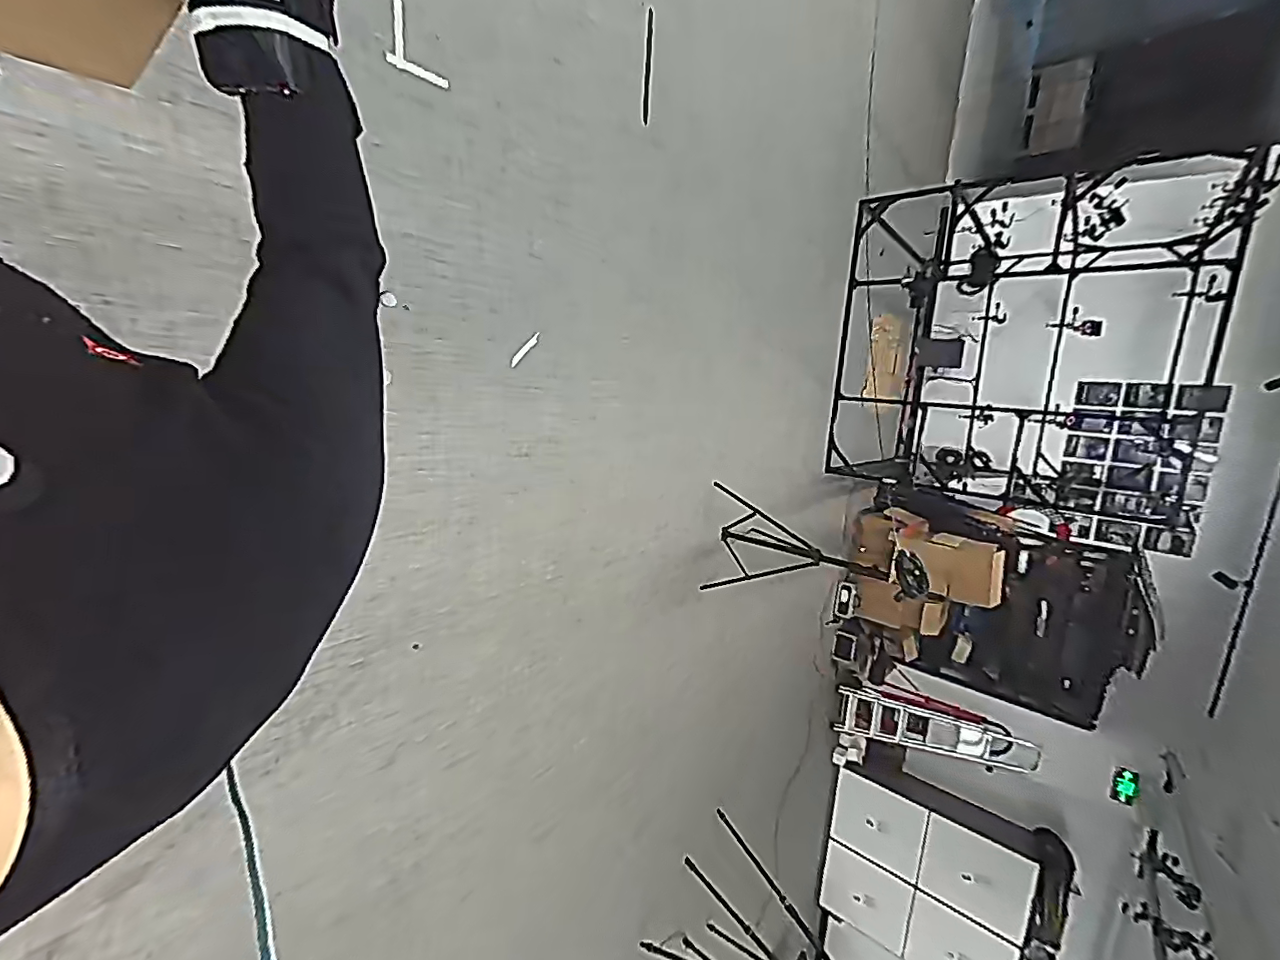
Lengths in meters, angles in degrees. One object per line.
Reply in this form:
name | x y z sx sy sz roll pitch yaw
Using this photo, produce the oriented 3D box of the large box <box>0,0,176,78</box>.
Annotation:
large box | -0.490 -0.466 0.236 0.408 0.320 0.320 -14 110 -50
